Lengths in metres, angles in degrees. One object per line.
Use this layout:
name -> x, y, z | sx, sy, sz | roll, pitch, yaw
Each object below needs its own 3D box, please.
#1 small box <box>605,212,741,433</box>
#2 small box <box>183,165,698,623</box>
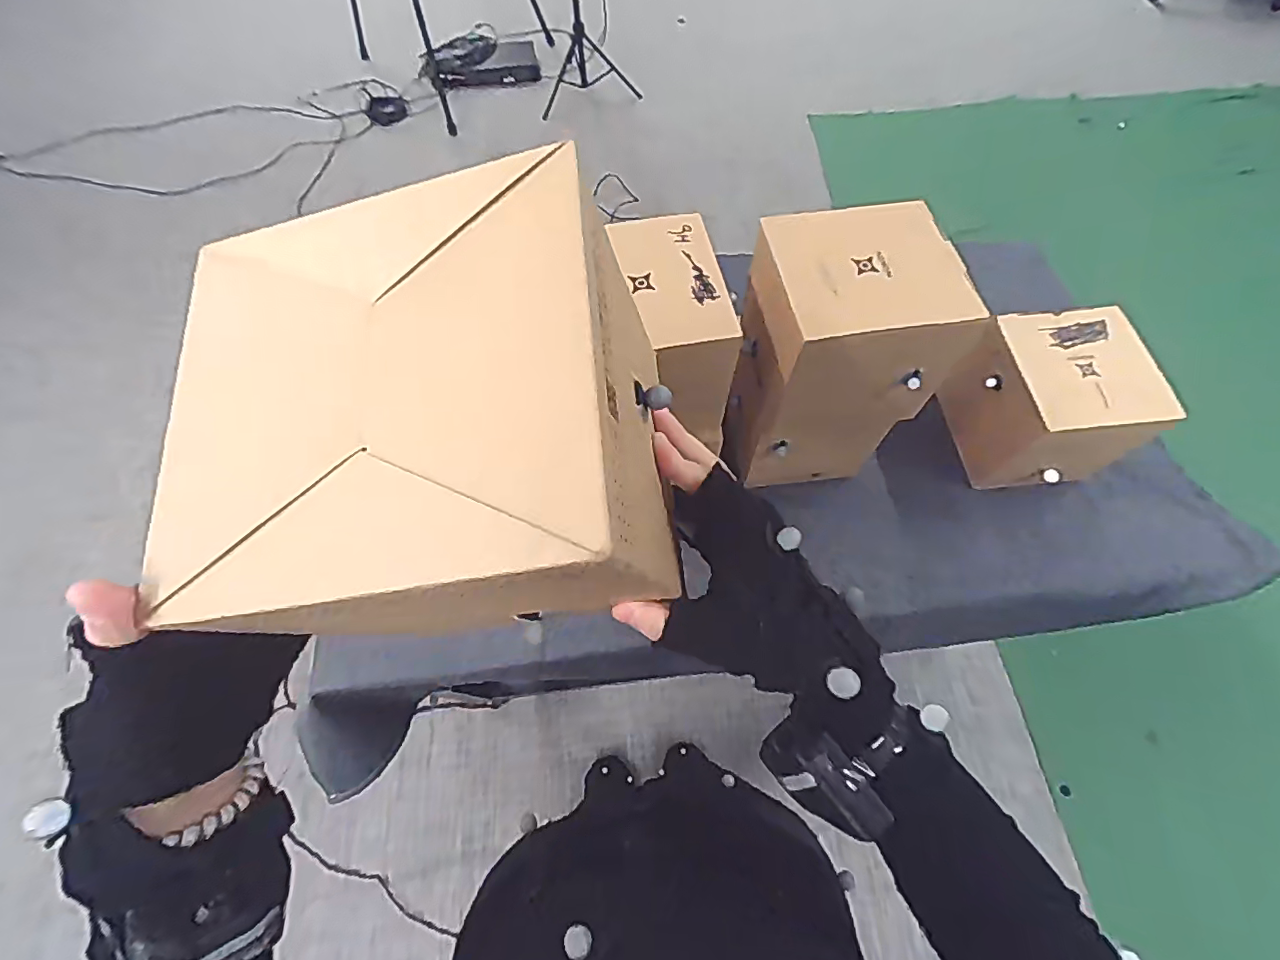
small box -> -0.003, -0.154, 0.591 | 0.179, 0.176, 0.168 | -11, 65, -3
small box -> -0.077, -0.021, 0.279 | 0.179, 0.176, 0.168 | -10, 71, 10
